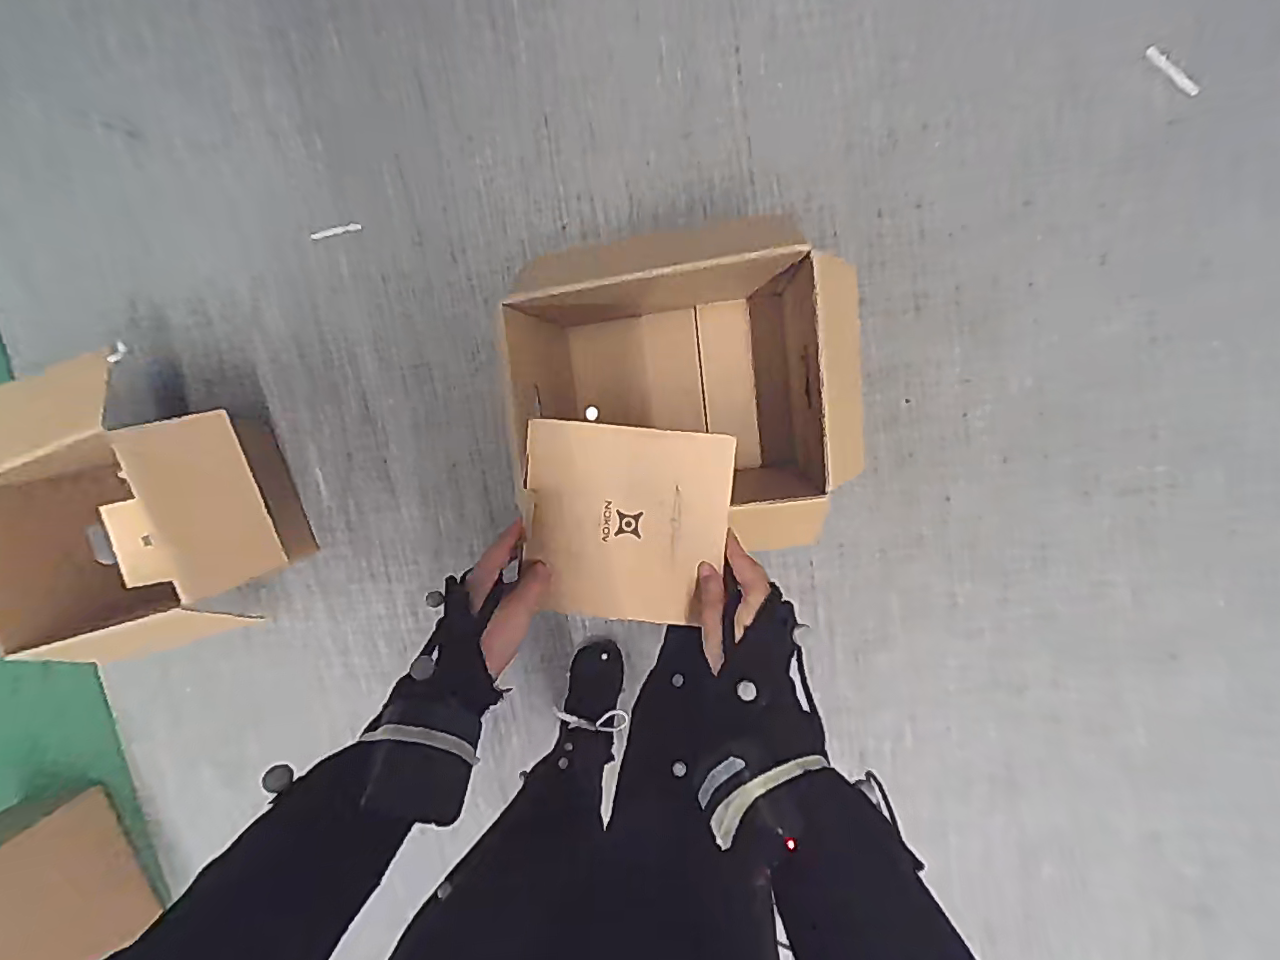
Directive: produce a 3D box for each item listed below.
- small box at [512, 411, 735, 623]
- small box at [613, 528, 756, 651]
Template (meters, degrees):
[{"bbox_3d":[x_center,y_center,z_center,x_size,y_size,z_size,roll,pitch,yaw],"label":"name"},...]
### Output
[{"bbox_3d":[-0.014,0.026,0.530,0.179,0.176,0.168,5,95,0],"label":"small box"},{"bbox_3d":[0.074,0.172,0.937,0.179,0.168,0.176,32,131,-10],"label":"small box"}]
